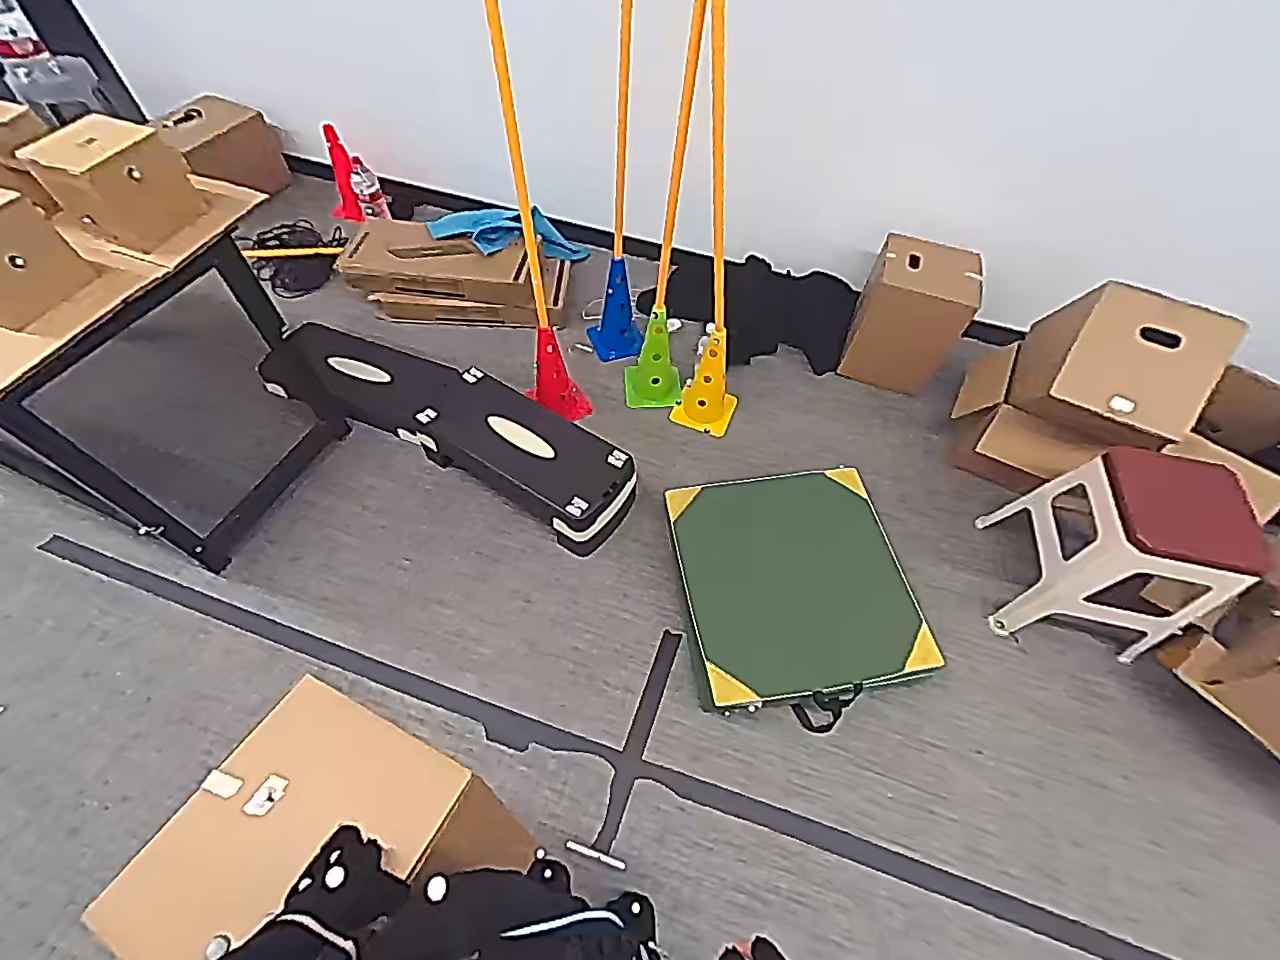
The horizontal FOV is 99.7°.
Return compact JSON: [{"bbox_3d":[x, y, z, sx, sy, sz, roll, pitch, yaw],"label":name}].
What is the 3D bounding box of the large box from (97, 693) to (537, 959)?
[{"bbox_3d":[-0.395,0.573,0.775,0.320,0.408,0.320,19,50,21],"label":"large box"}]
